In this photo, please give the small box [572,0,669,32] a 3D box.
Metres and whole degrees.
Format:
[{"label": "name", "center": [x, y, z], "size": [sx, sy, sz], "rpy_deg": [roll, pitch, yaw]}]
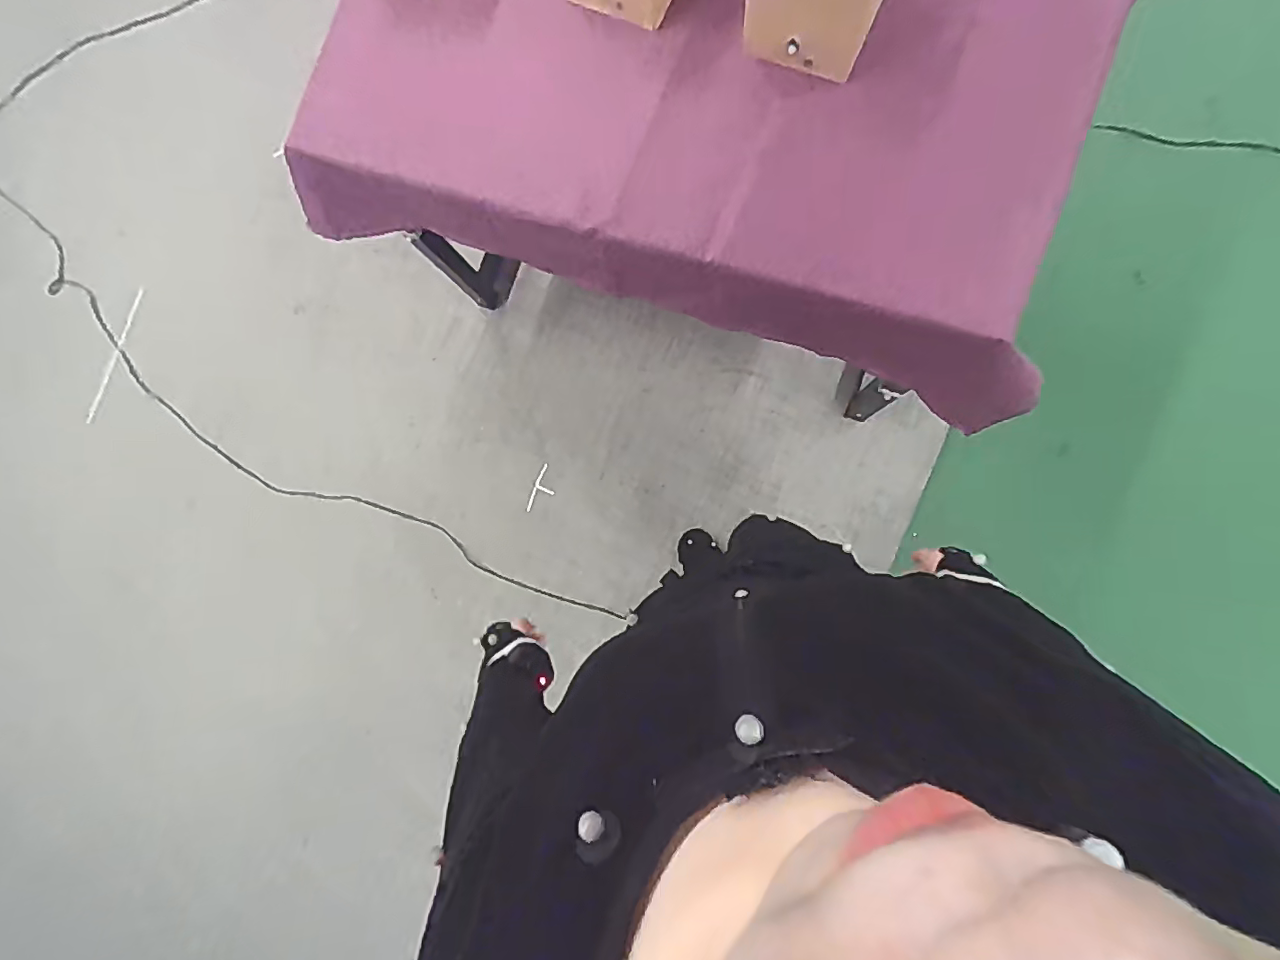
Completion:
[{"label": "small box", "center": [-0.022, -0.828, 0.793], "size": [0.168, 0.176, 0.179], "rpy_deg": [27, 91, 9]}]
